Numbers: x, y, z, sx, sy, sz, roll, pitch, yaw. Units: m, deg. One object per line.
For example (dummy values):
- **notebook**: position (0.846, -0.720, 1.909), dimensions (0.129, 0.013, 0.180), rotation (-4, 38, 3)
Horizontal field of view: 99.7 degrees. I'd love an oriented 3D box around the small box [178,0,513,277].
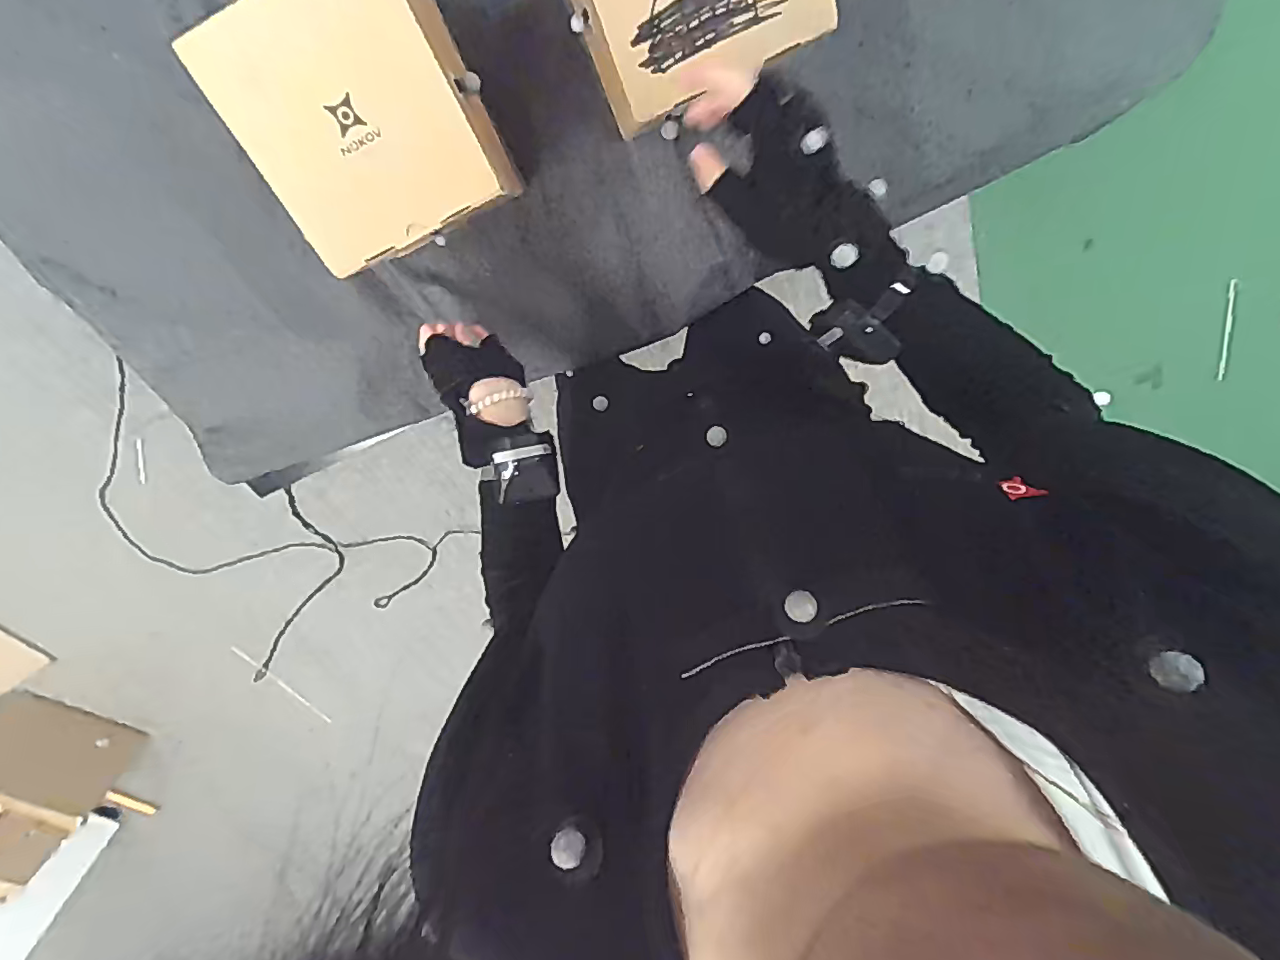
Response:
- **small box**: position (-0.230, -0.308, 0.482), dimensions (0.168, 0.176, 0.179), rotation (-23, 120, 6)
